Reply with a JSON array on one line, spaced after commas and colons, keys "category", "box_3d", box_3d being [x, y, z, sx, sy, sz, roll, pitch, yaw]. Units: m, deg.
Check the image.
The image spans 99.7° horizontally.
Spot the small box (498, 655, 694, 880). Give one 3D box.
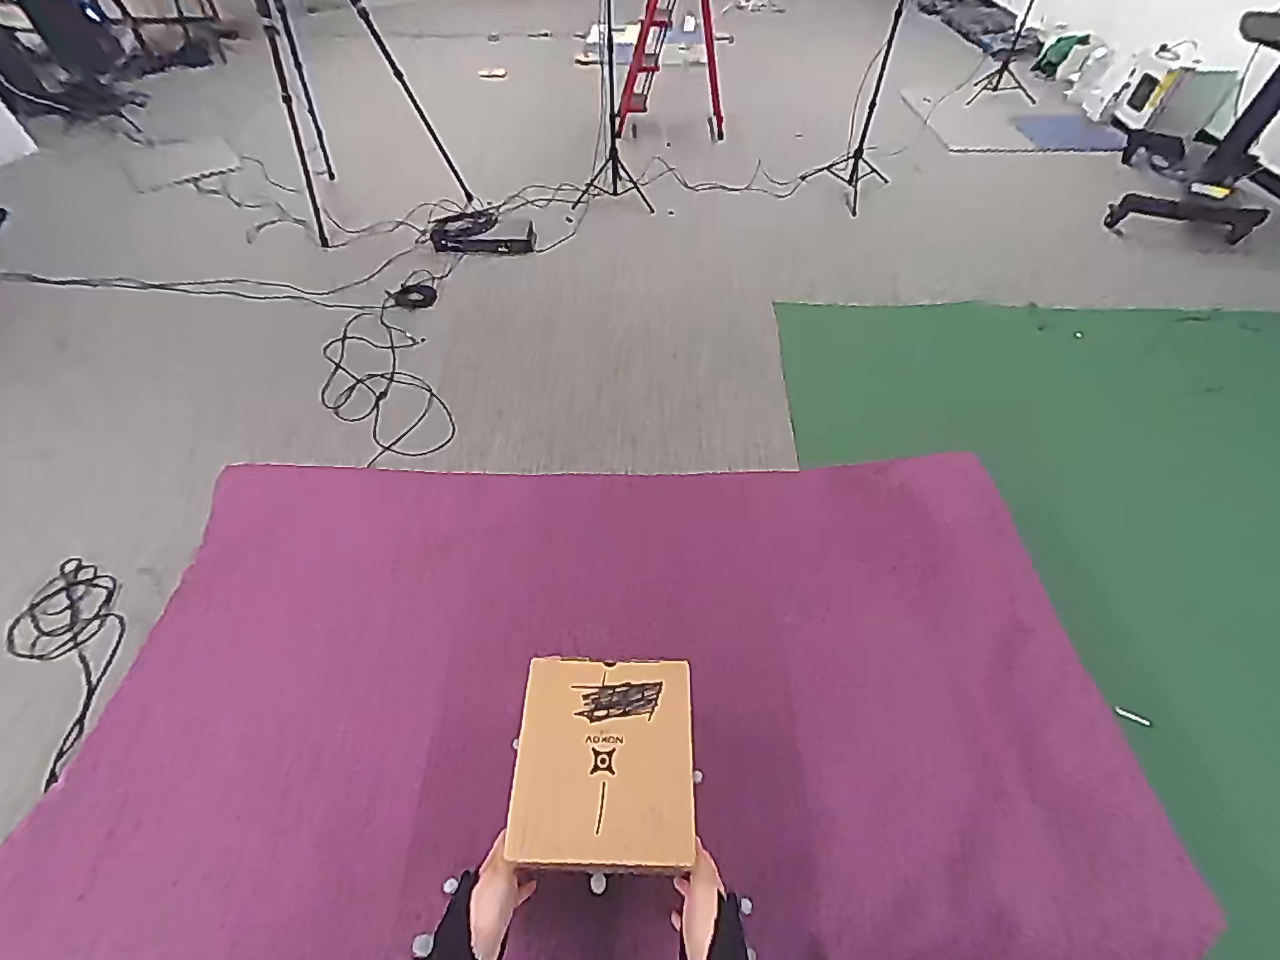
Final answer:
[{"category": "small box", "box_3d": [-0.035, 0.299, 0.559, 0.168, 0.176, 0.179, 1, 52, 1]}]
